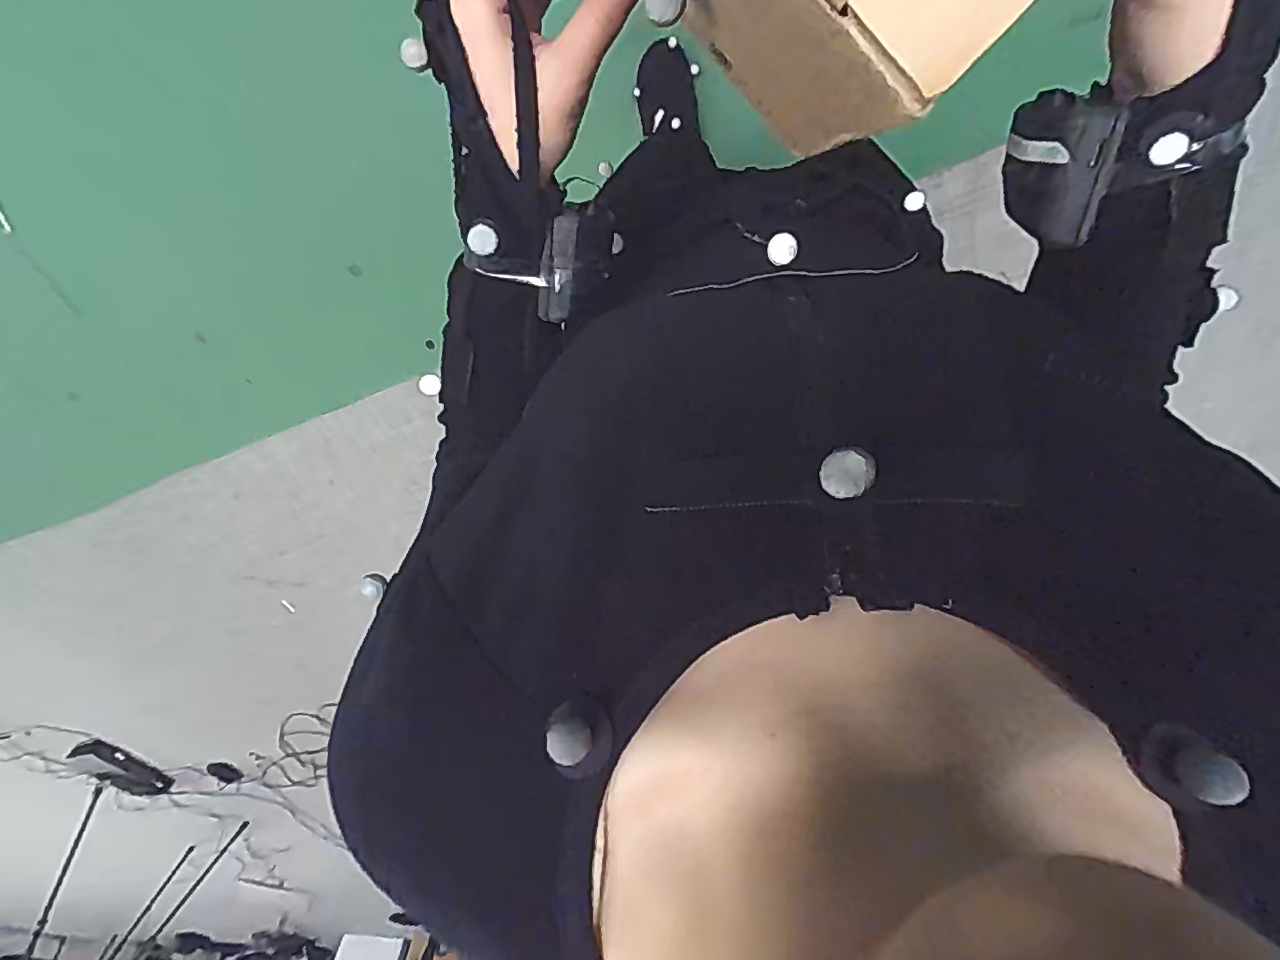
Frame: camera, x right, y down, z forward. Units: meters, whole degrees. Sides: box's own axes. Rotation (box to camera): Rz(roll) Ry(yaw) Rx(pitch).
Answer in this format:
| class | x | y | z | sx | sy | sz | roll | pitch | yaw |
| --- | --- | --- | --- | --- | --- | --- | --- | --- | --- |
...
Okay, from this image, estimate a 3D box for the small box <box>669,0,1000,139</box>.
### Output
| class | x | y | z | sx | sy | sz | roll | pitch | yaw |
| --- | --- | --- | --- | --- | --- | --- | --- | --- | --- |
| small box | 0.071 | -0.237 | 0.161 | 0.168 | 0.176 | 0.179 | 39 | 116 | -14 |
